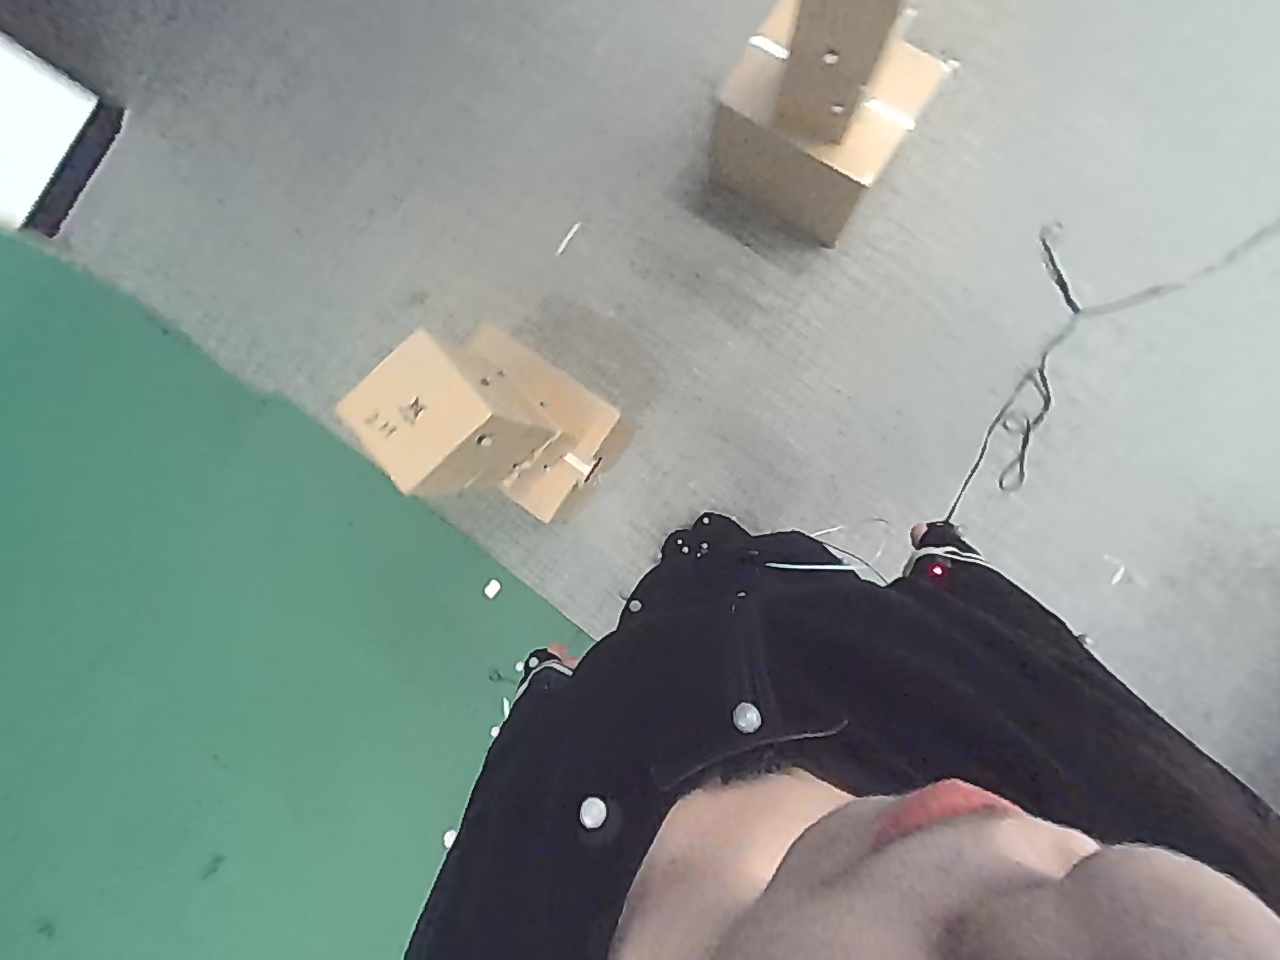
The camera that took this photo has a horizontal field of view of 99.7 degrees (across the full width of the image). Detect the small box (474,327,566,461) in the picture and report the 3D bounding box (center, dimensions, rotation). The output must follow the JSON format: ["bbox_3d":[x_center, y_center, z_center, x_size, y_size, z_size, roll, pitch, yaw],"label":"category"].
[{"bbox_3d":[-0.263,-0.148,1.003,0.168,0.176,0.179,-35,87,6],"label":"small box"}]

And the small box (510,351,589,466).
[{"bbox_3d":[-0.234,-0.143,1.163,0.168,0.176,0.179,-39,86,5],"label":"small box"}]

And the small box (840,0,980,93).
[{"bbox_3d":[0.480,-0.822,0.934,0.179,0.176,0.168,32,94,5],"label":"small box"}]

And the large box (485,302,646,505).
[{"bbox_3d":[-0.242,-0.178,1.408,0.408,0.320,0.320,41,93,6],"label":"large box"}]

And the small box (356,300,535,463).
[{"bbox_3d":[-0.284,-0.140,0.839,0.179,0.176,0.168,-35,86,6],"label":"small box"}]
